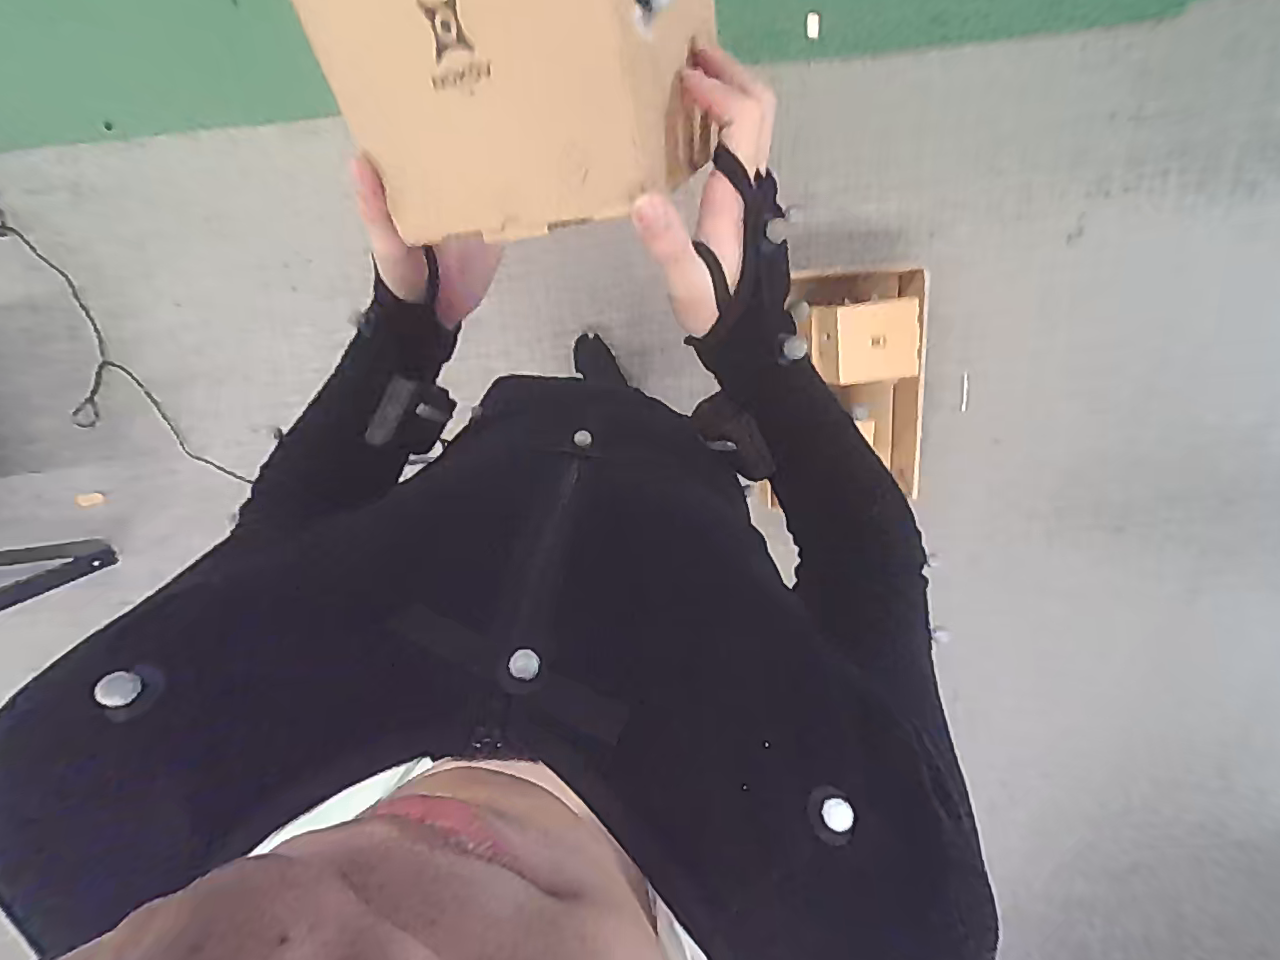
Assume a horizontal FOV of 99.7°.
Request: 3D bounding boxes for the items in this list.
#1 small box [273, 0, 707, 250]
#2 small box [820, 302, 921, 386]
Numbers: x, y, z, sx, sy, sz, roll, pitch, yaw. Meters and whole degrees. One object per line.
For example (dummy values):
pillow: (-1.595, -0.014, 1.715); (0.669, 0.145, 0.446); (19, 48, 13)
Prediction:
small box: (-0.068, -0.255, 0.307); (0.168, 0.176, 0.179); (4, 132, 23)
small box: (0.524, -0.311, 1.250); (0.179, 0.176, 0.168); (-7, 104, 3)
